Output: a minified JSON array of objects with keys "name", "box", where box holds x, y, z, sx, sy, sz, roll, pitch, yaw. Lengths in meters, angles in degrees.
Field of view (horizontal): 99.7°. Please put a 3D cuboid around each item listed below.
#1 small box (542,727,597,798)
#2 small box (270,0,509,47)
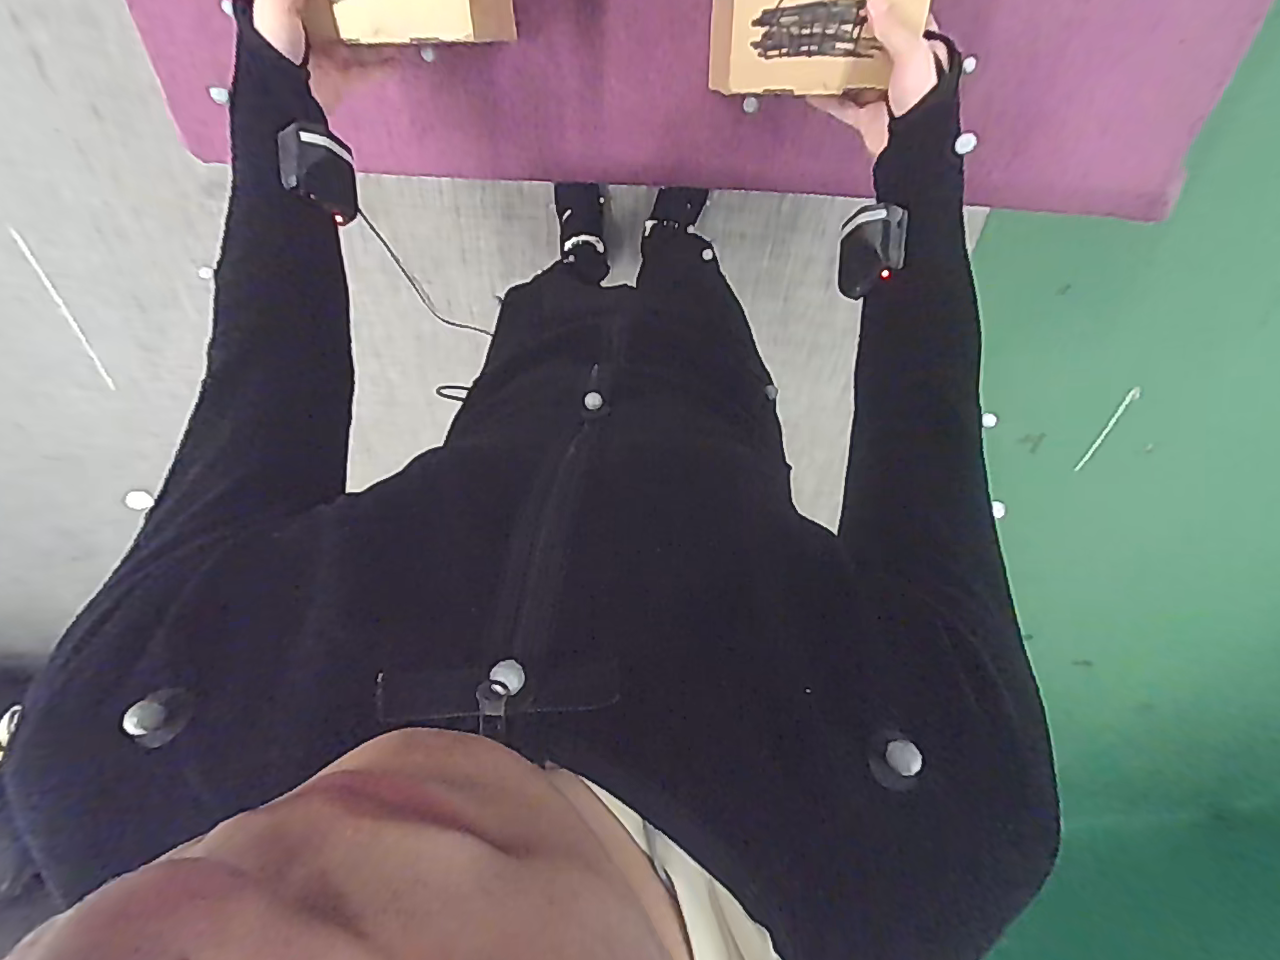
[{"name":"small box","box":[-0.250,1.007,1.931,0.168,0.176,0.179,10,128,-5]},{"name":"small box","box":[-0.222,-0.493,0.472,0.168,0.176,0.179,2,130,2]}]
